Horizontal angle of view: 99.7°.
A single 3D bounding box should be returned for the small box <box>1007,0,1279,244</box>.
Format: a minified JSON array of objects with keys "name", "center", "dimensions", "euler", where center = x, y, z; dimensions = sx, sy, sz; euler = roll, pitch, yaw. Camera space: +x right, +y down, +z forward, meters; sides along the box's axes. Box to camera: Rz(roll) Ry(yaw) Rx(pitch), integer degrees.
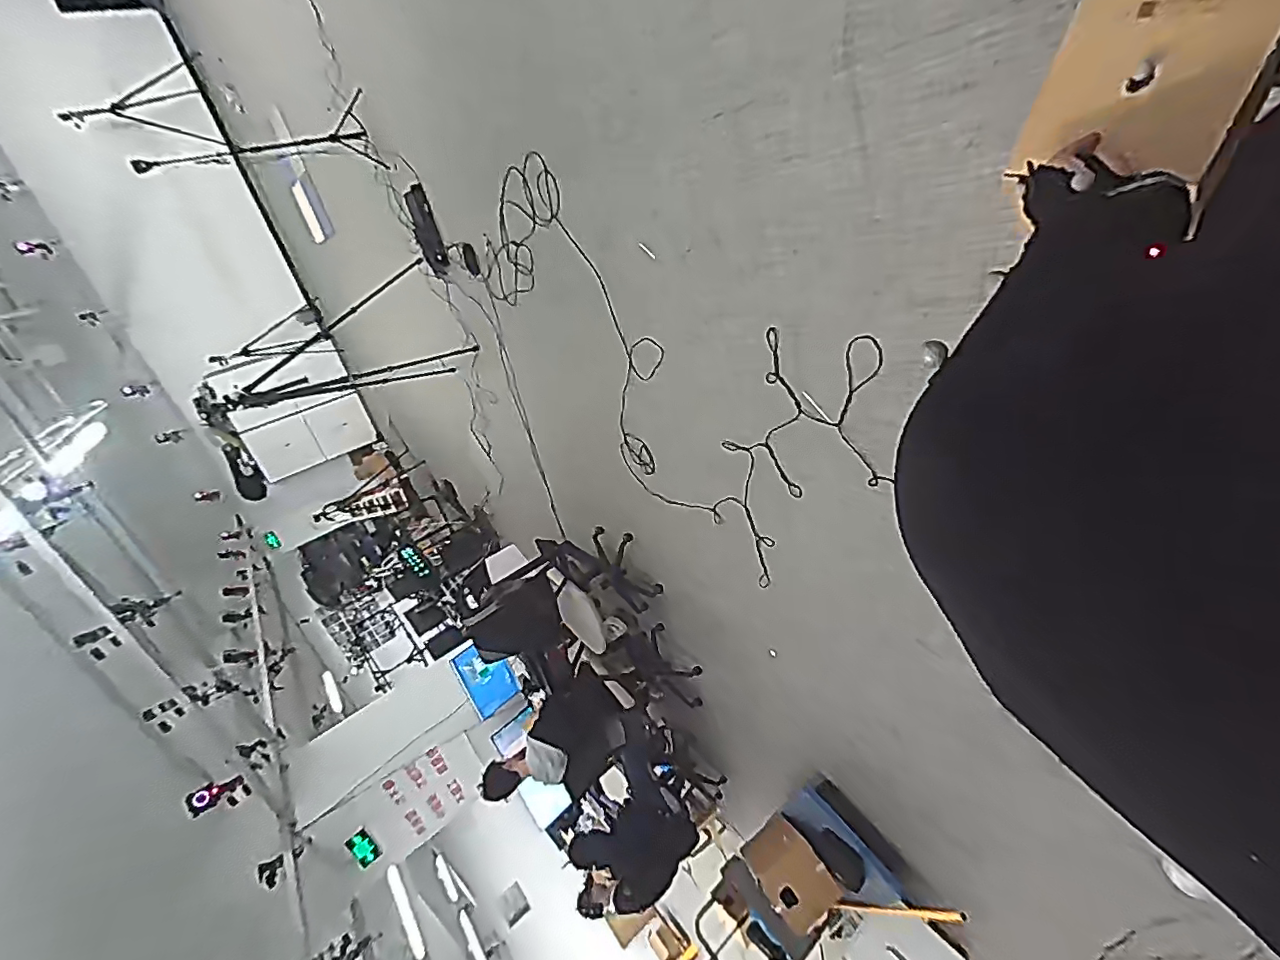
[{"name":"small box","center":[0.530,-0.374,0.578],"dimensions":[0.168,0.179,0.176],"euler":[29,109,38]}]
